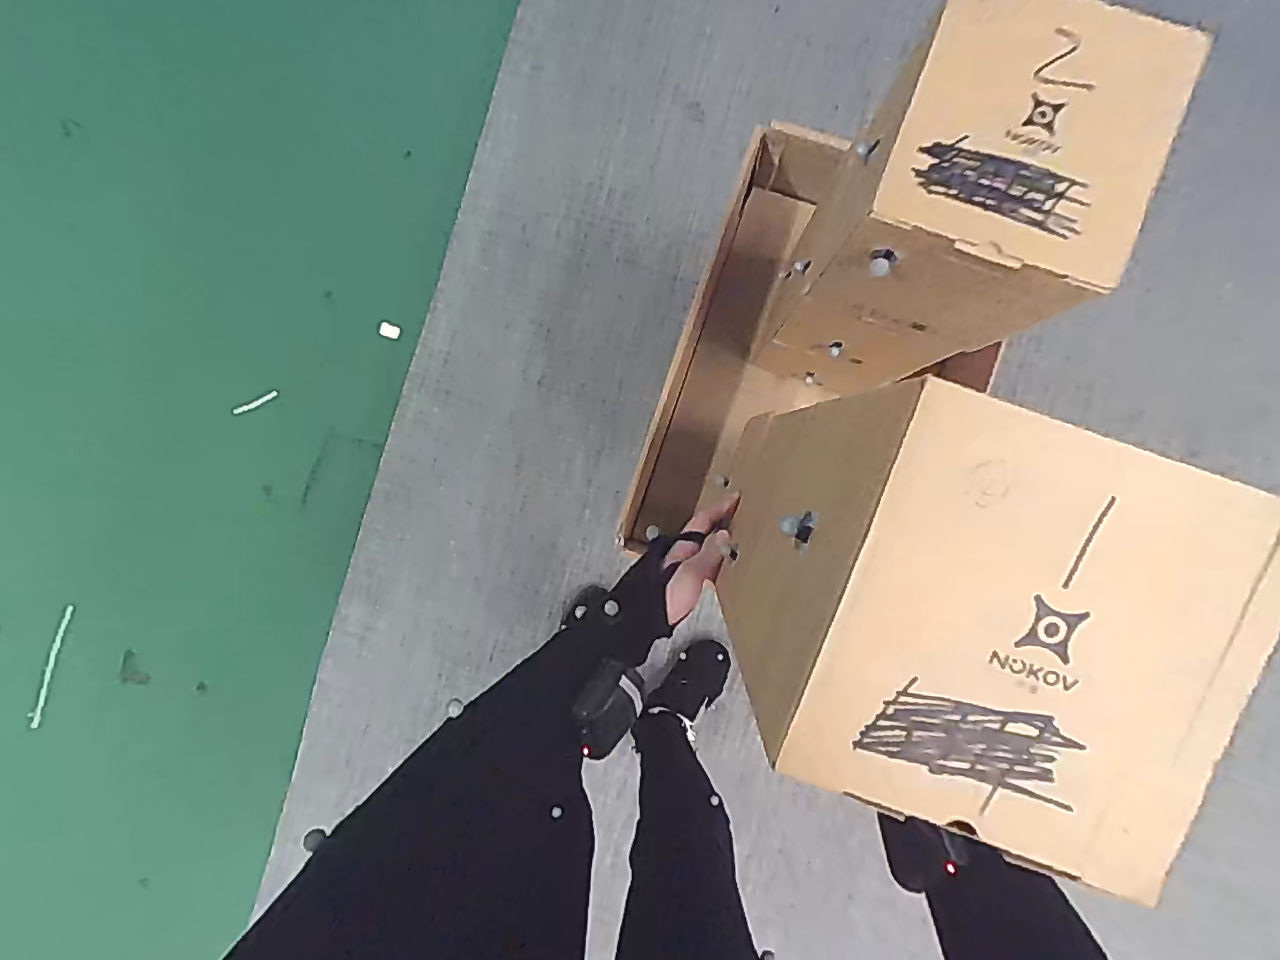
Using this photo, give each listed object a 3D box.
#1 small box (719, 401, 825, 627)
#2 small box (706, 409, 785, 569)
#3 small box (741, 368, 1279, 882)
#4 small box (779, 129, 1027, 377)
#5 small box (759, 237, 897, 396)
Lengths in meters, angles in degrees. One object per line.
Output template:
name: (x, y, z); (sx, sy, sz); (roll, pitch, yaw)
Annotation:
small box: (0.175, 0.048, 0.467); (0.168, 0.176, 0.179); (21, 94, 1)
small box: (0.182, 0.031, 0.630); (0.168, 0.176, 0.179); (21, 95, 1)
small box: (0.165, 0.057, 0.303); (0.168, 0.176, 0.179); (20, 94, 1)
small box: (0.268, -0.231, 0.597); (0.168, 0.176, 0.179); (19, 92, 3)
small box: (0.278, -0.234, 0.759); (0.168, 0.176, 0.179); (20, 91, 4)
